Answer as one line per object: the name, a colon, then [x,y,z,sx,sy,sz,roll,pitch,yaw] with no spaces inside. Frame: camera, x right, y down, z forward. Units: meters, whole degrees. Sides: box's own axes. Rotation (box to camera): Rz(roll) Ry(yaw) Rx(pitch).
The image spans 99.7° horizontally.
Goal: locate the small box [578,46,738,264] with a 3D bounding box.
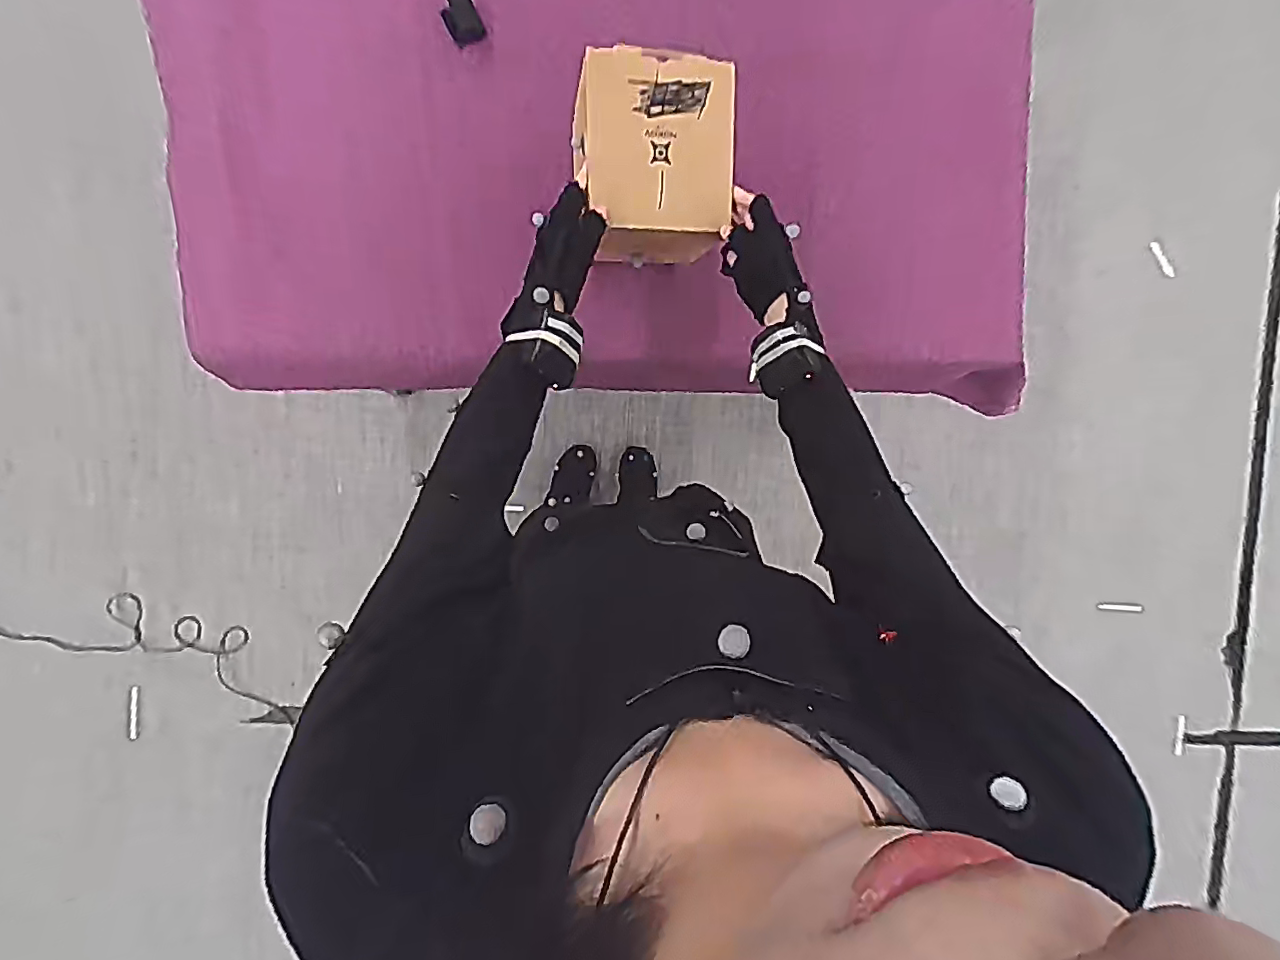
small box: [0.012,-0.382,0.669,0.168,0.176,0.179,-2,100,-11]
